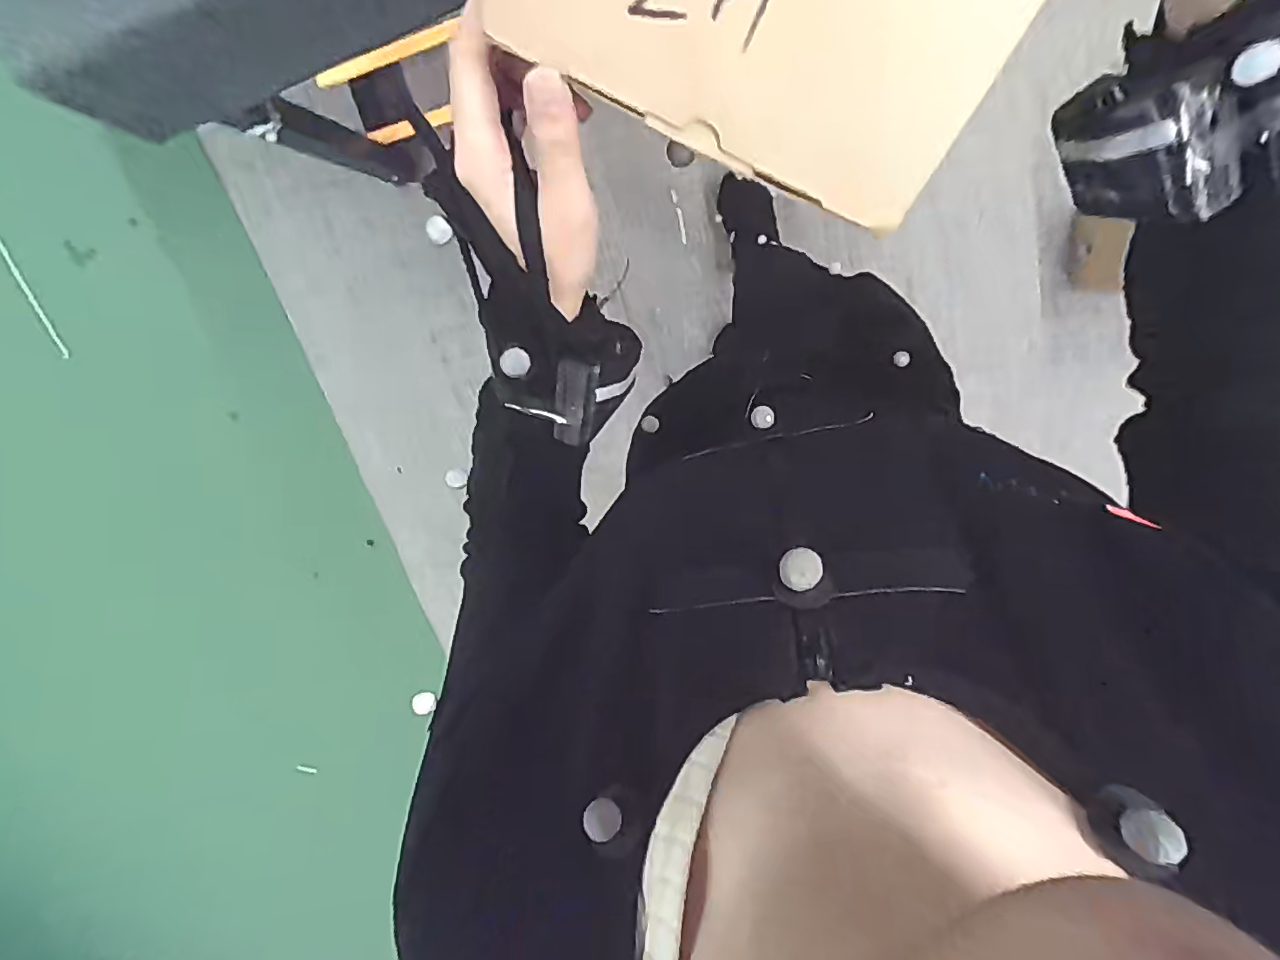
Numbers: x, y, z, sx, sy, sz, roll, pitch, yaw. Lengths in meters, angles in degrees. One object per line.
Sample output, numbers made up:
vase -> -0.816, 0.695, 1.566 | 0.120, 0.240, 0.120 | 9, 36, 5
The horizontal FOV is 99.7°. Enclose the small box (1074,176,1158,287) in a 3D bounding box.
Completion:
small box -> 0.971, -0.478, 1.031 | 0.168, 0.176, 0.179 | -10, 109, 10

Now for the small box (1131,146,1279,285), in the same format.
small box -> 0.949, -0.426, 0.877 | 0.168, 0.176, 0.179 | -12, 107, 9
